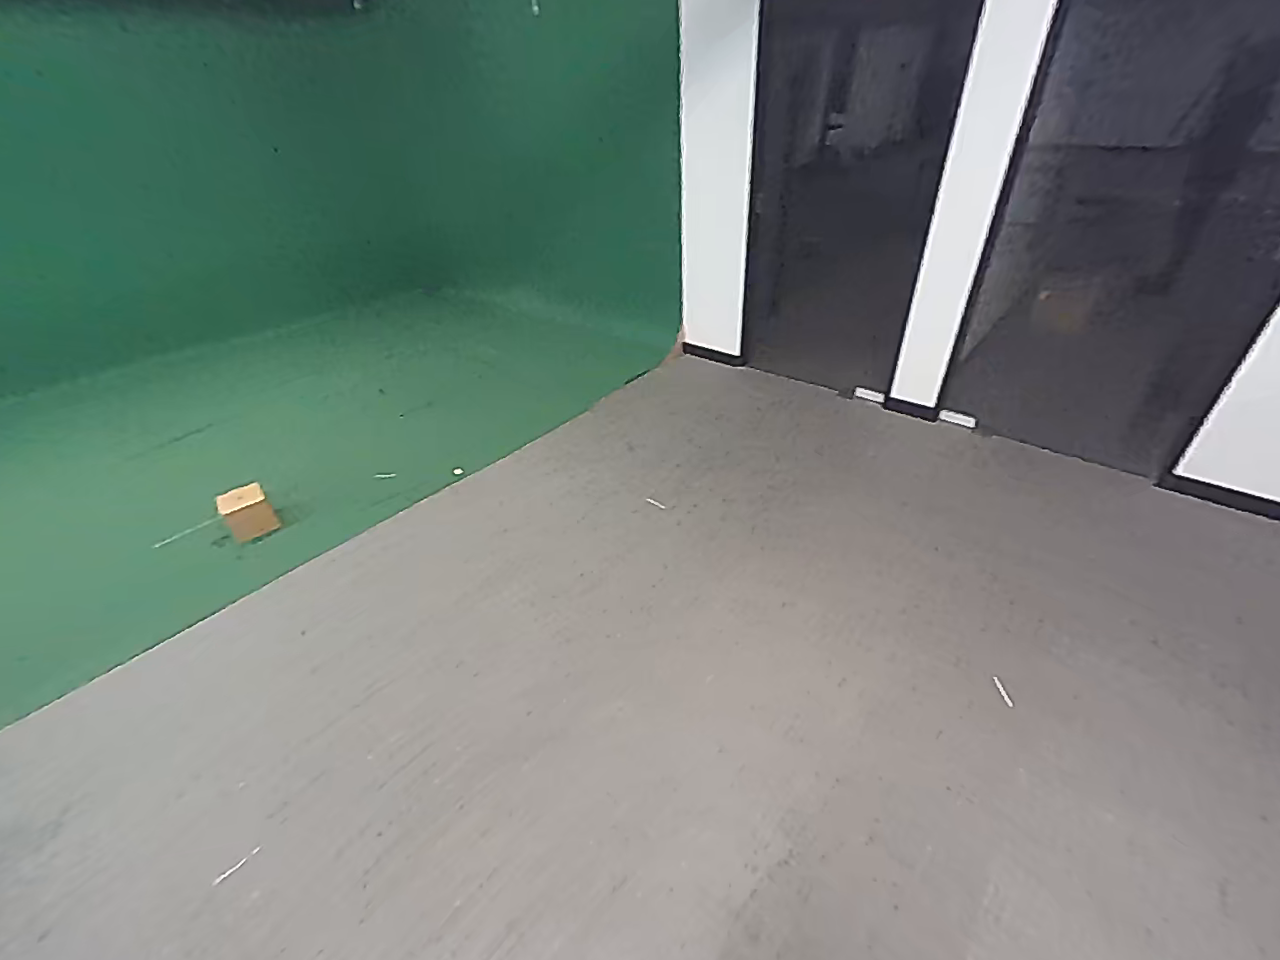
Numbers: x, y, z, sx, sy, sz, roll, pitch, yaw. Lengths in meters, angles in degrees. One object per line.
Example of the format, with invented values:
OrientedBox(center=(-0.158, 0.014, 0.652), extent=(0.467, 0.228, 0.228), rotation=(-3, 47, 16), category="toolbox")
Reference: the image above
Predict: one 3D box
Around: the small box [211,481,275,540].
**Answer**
OrientedBox(center=(-1.750, 0.141, 2.390), extent=(0.168, 0.176, 0.179), rotation=(-28, 43, -31), category="small box")
